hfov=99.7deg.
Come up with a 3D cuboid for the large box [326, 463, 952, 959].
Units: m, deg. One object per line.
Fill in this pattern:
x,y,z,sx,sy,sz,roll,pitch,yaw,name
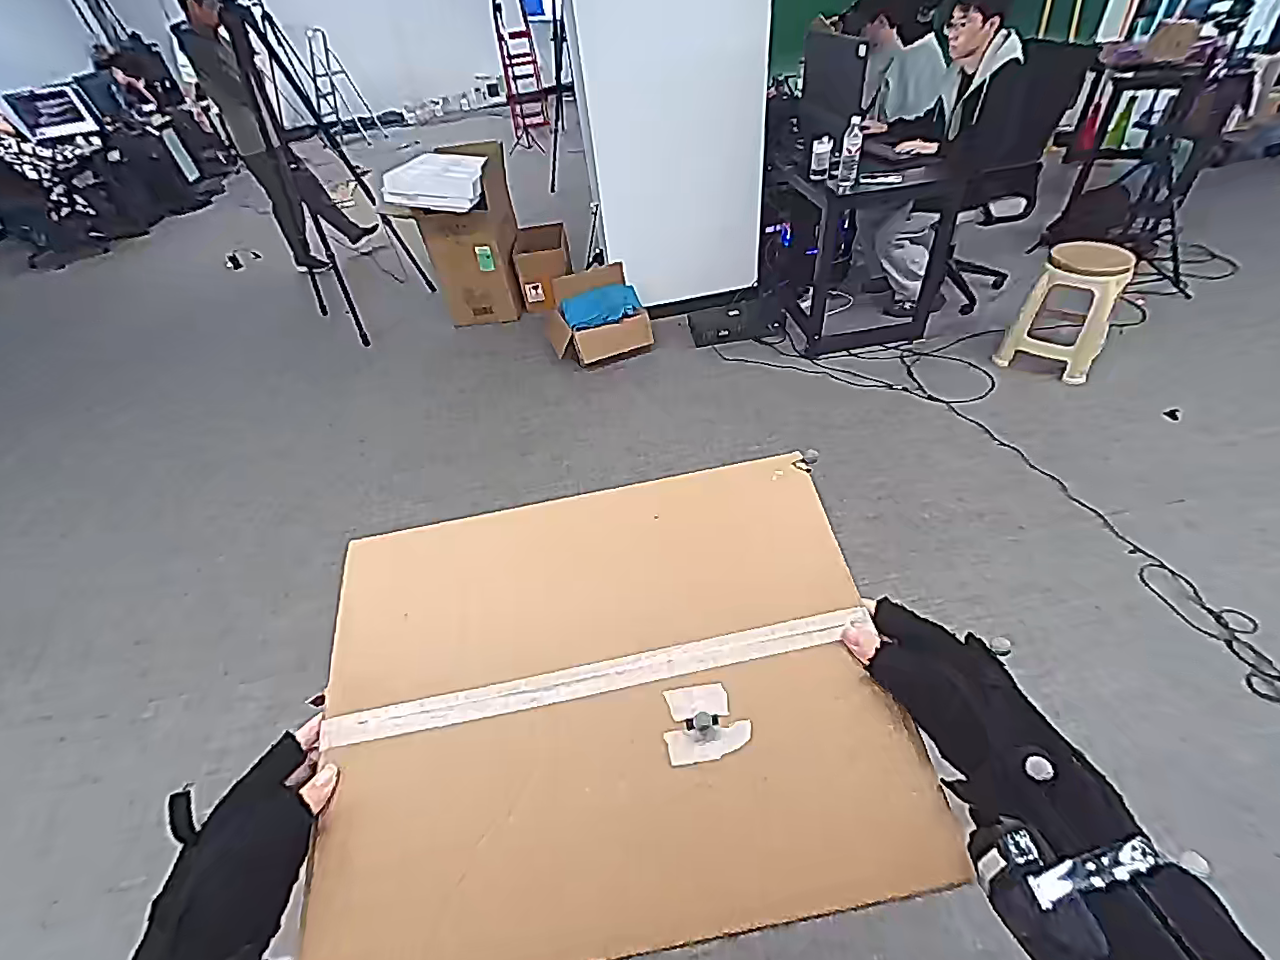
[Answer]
-0.014,0.229,0.533,0.408,0.320,0.320,-11,58,-2,large box
